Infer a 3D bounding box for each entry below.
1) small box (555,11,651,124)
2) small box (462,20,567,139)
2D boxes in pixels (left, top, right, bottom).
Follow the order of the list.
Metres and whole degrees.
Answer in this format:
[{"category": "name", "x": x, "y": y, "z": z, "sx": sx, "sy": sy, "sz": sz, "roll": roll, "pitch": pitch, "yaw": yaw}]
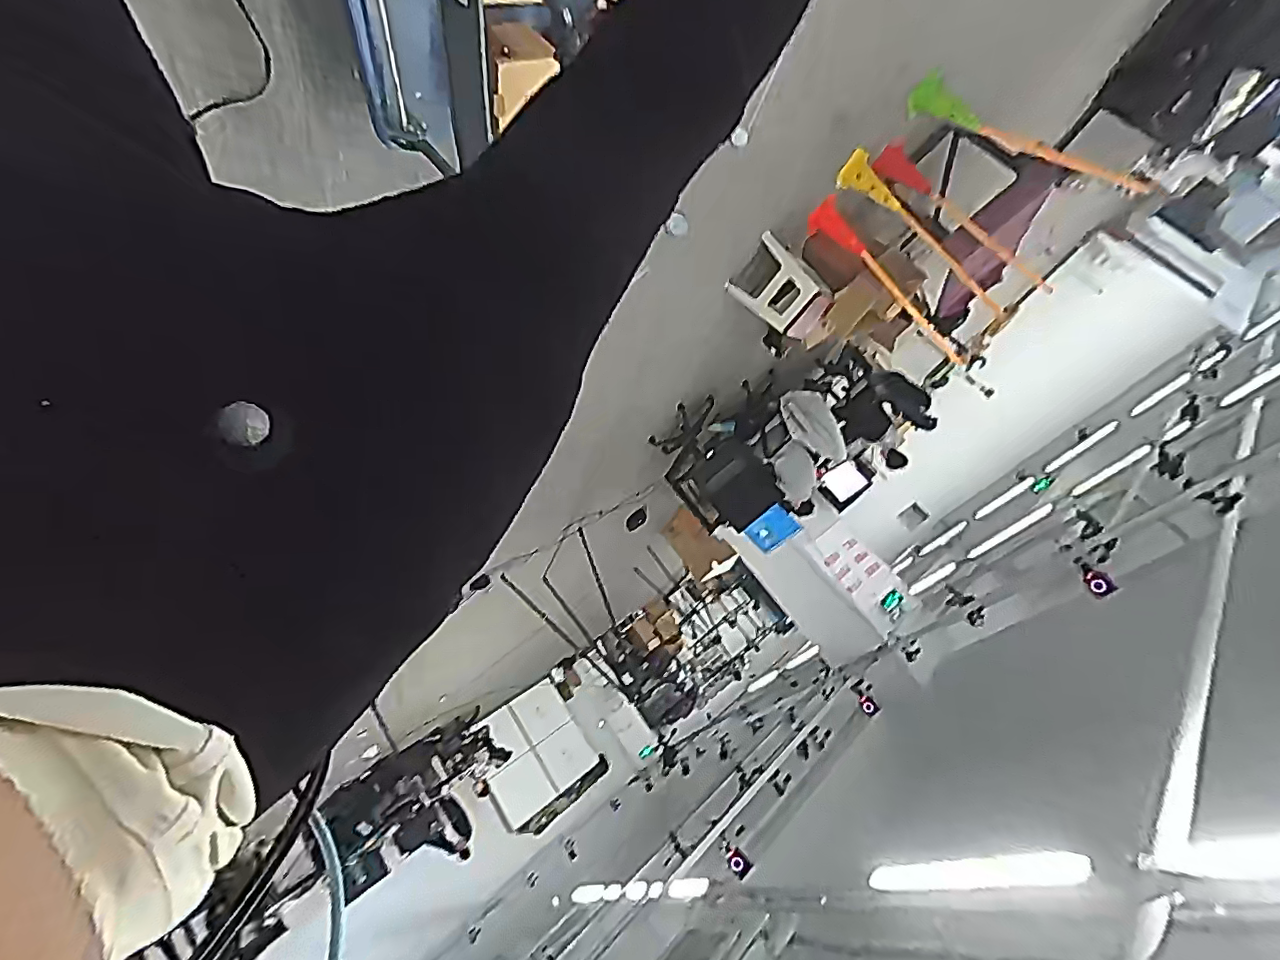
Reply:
[{"category": "small box", "x": -0.098, "y": -1.046, "z": 1.367, "sx": 0.179, "sy": 0.176, "sz": 0.168, "roll": -29, "pitch": 159, "yaw": -22}, {"category": "small box", "x": -0.293, "y": -0.940, "z": 1.265, "sx": 0.179, "sy": 0.176, "sz": 0.168, "roll": -28, "pitch": 159, "yaw": -25}]
